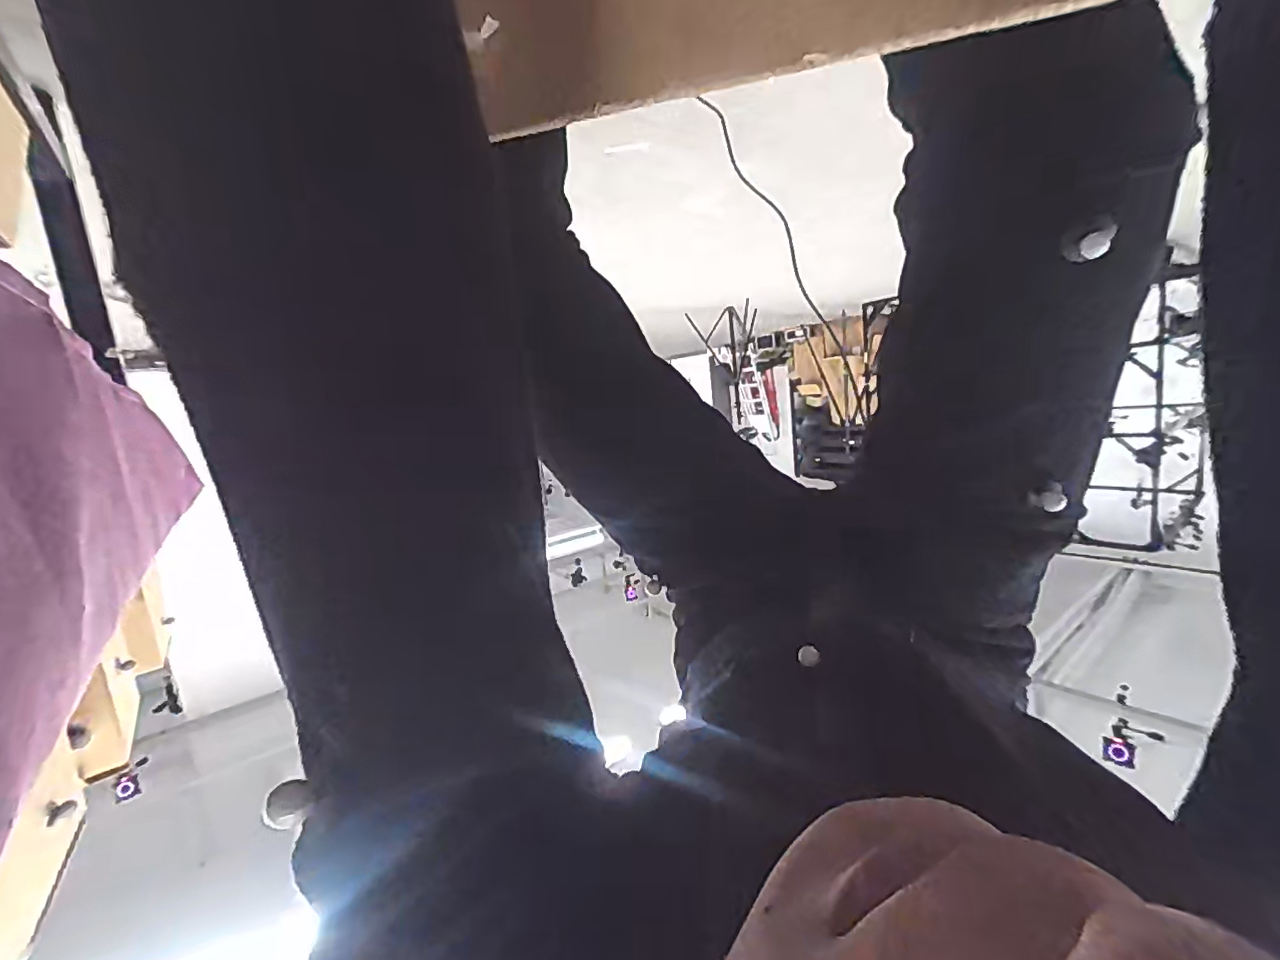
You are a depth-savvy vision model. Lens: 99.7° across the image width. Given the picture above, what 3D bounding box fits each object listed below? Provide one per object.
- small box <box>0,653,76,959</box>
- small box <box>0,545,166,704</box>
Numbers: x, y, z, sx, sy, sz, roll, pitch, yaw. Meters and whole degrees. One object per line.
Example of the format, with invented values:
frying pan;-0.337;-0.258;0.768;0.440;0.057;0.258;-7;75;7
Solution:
small box;-0.506;0.232;0.343;0.168;0.176;0.179;-12;-169;-36
small box;-0.800;0.196;0.764;0.168;0.176;0.179;-14;-169;-36
